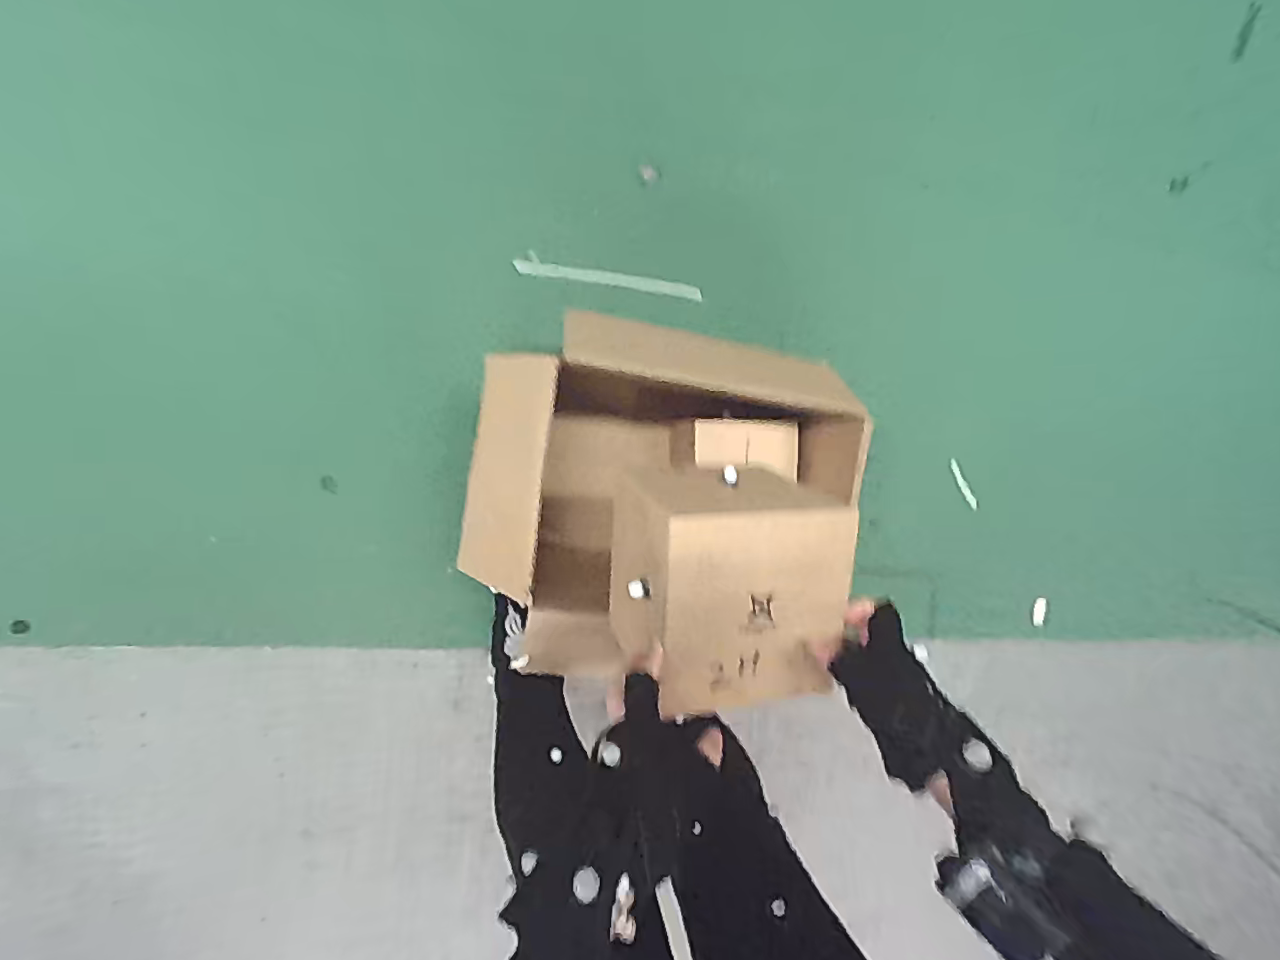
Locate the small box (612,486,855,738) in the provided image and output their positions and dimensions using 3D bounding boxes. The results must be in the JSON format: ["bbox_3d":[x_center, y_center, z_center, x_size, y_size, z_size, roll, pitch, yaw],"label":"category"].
[{"bbox_3d":[0.072,0.105,0.513,0.168,0.176,0.179,-1,104,-15],"label":"small box"}]
